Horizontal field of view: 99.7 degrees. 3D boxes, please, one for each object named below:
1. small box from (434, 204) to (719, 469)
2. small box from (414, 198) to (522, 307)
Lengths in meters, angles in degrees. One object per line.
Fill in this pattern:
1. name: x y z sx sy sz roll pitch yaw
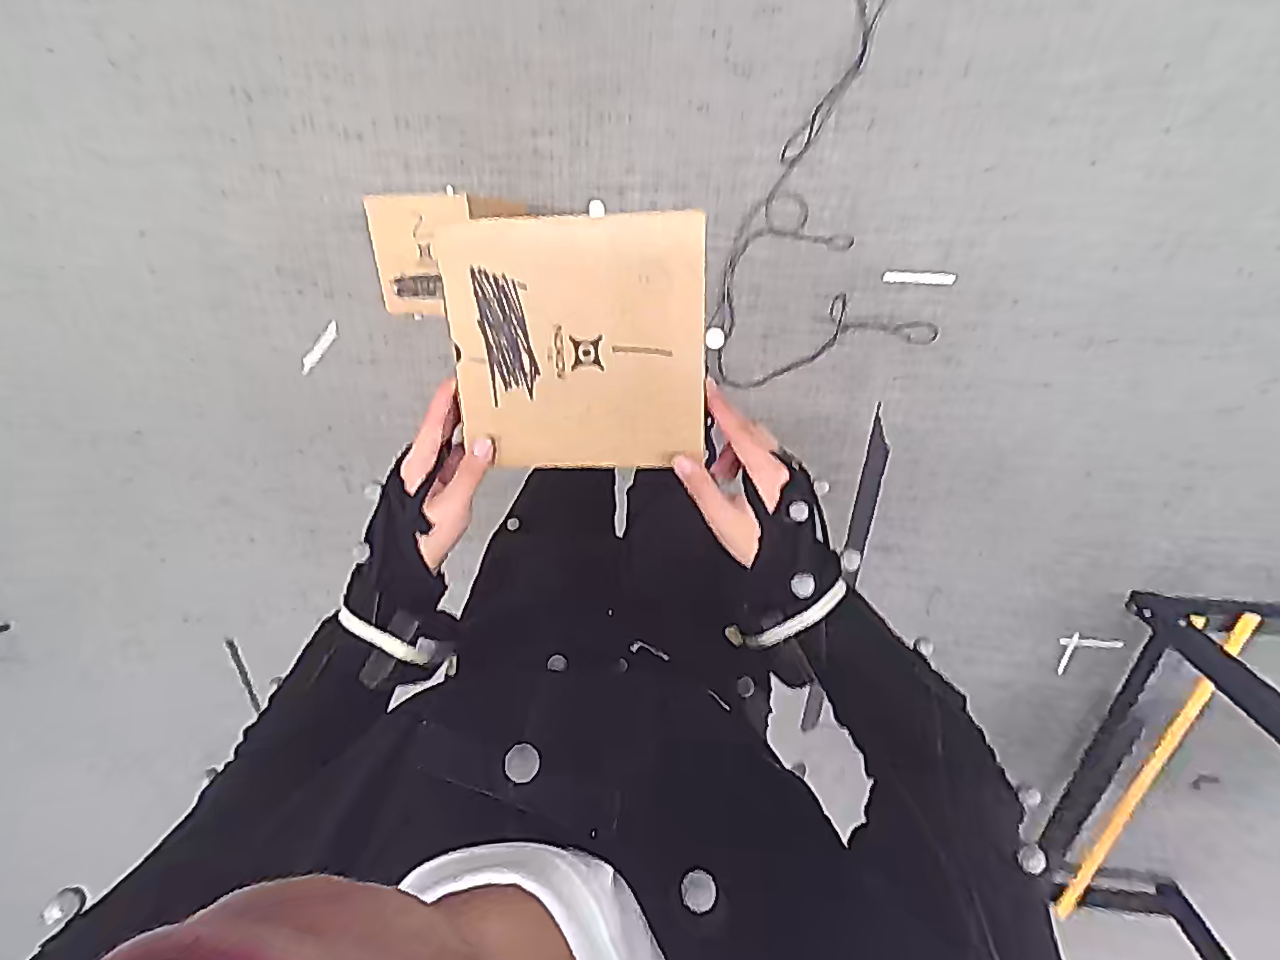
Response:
1. small box: -0.032 -0.114 0.423 0.179 0.176 0.168 0 111 4
2. small box: -0.309 -0.445 1.060 0.168 0.176 0.179 -2 115 8
